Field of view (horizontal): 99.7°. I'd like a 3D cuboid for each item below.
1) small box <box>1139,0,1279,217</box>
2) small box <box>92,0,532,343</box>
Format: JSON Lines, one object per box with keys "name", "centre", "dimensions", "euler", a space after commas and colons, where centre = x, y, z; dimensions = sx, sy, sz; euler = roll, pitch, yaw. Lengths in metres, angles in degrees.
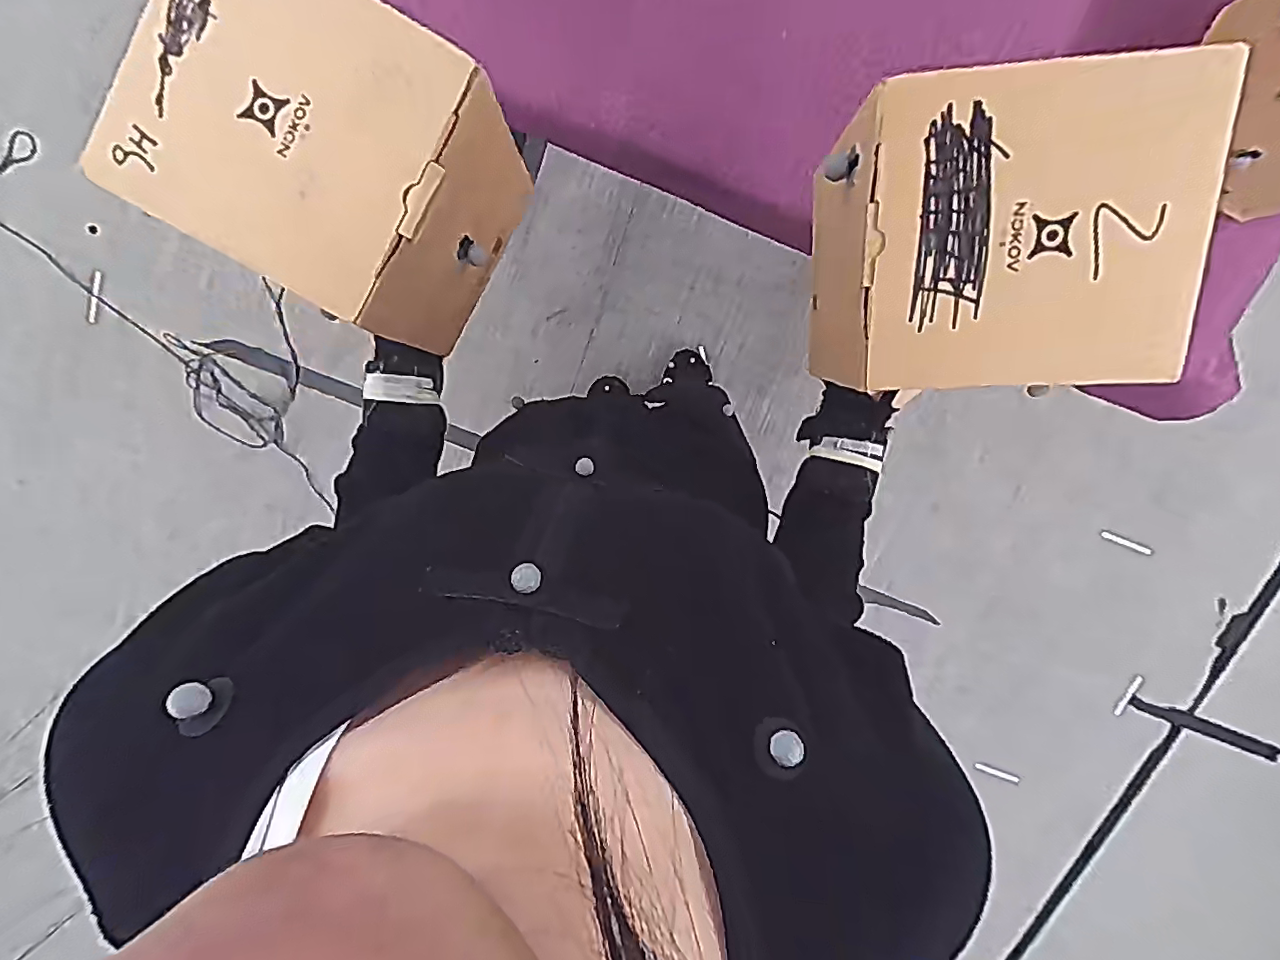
{"name": "small box", "centre": [0.691, -0.407, 0.563], "dimensions": [0.168, 0.176, 0.179], "euler": [26, 102, -4]}
{"name": "small box", "centre": [-0.195, -0.212, 0.382], "dimensions": [0.179, 0.176, 0.168], "euler": [29, 95, -5]}
